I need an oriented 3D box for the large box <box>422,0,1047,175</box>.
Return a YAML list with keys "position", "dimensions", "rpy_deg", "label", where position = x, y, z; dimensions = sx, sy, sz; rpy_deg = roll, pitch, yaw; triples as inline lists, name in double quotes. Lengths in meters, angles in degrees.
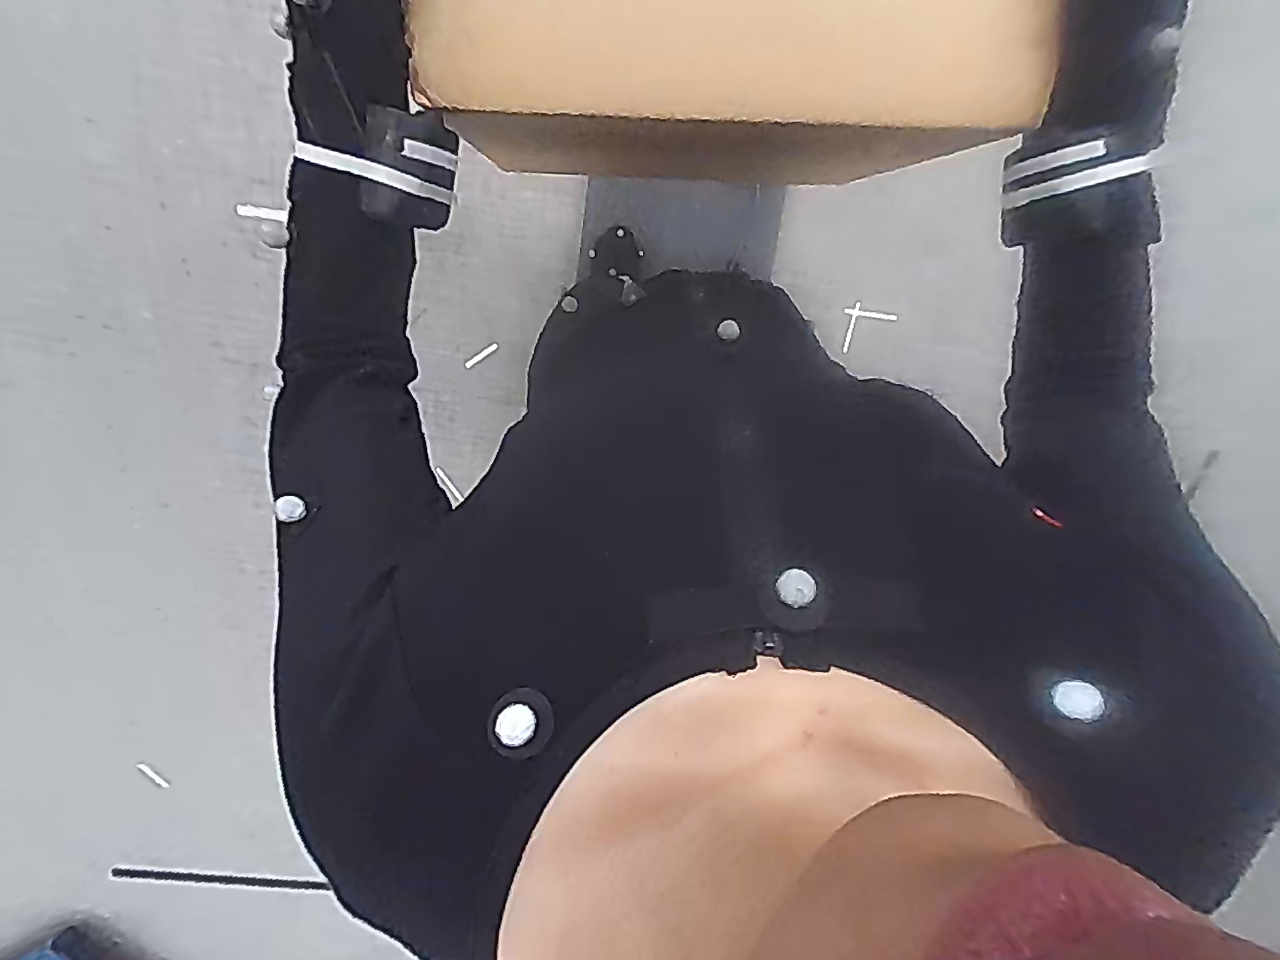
- position: [0.054, -0.444, 0.437]
  dimensions: [0.408, 0.320, 0.320]
  rpy_deg: [-1, 113, -4]
  label: "large box"
